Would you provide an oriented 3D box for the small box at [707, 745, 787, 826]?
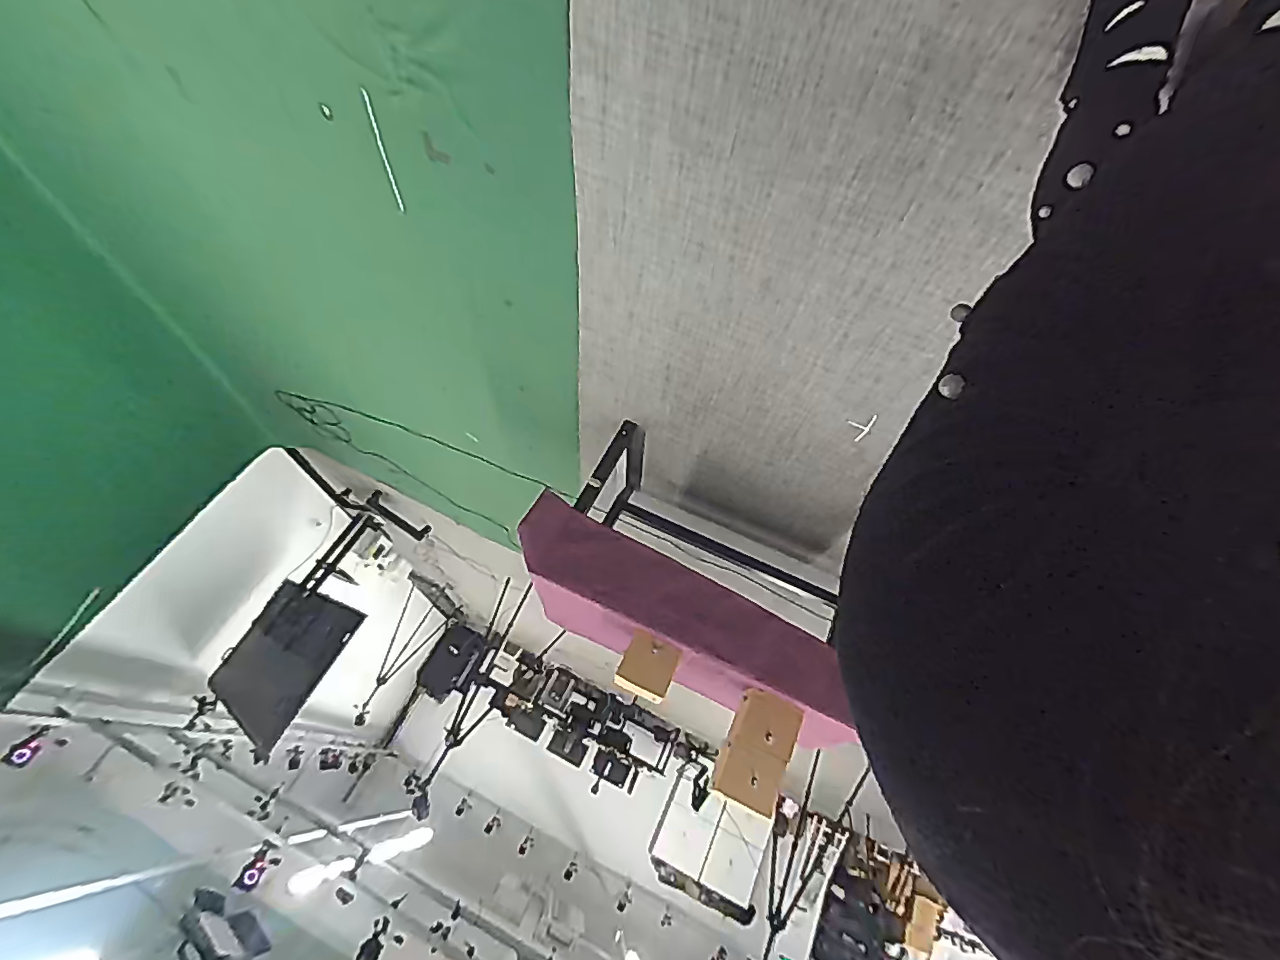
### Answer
[{"bbox_3d":[0.332,0.941,1.681,0.179,0.176,0.168,24,151,7],"label":"small box"}]

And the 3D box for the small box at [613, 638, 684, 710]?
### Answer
[{"bbox_3d":[0.027,0.650,1.829,0.179,0.176,0.168,25,152,9],"label":"small box"}]

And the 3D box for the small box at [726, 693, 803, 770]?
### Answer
[{"bbox_3d":[0.407,0.816,1.755,0.179,0.176,0.168,26,151,7],"label":"small box"}]
